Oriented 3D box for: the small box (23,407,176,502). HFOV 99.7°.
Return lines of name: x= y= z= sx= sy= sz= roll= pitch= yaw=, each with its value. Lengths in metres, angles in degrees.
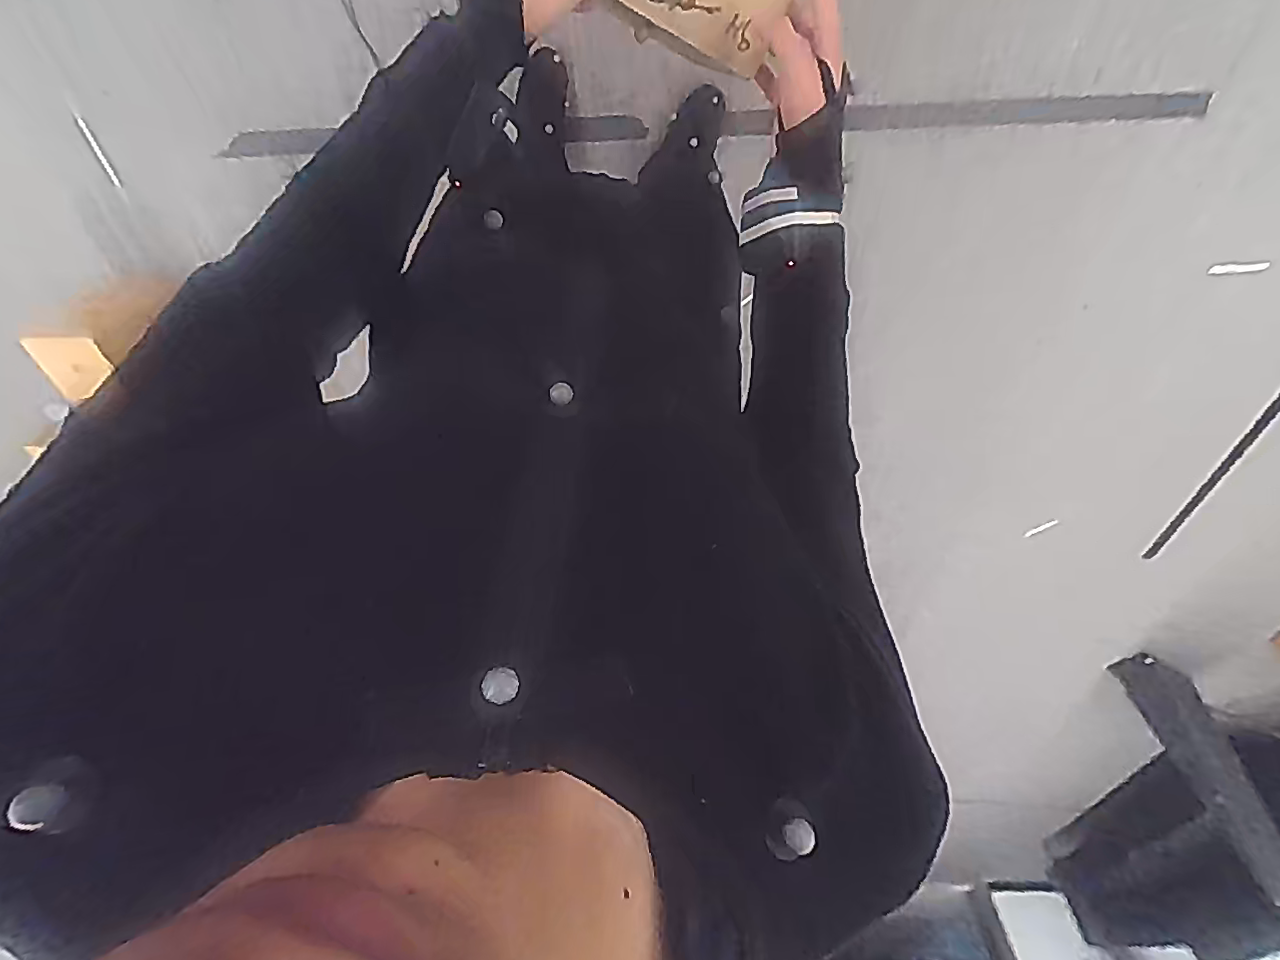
small box: x=-1.329 y=-0.066 z=1.347 sx=0.179 sy=0.176 sz=0.168 roll=4 pitch=132 yaw=-4
